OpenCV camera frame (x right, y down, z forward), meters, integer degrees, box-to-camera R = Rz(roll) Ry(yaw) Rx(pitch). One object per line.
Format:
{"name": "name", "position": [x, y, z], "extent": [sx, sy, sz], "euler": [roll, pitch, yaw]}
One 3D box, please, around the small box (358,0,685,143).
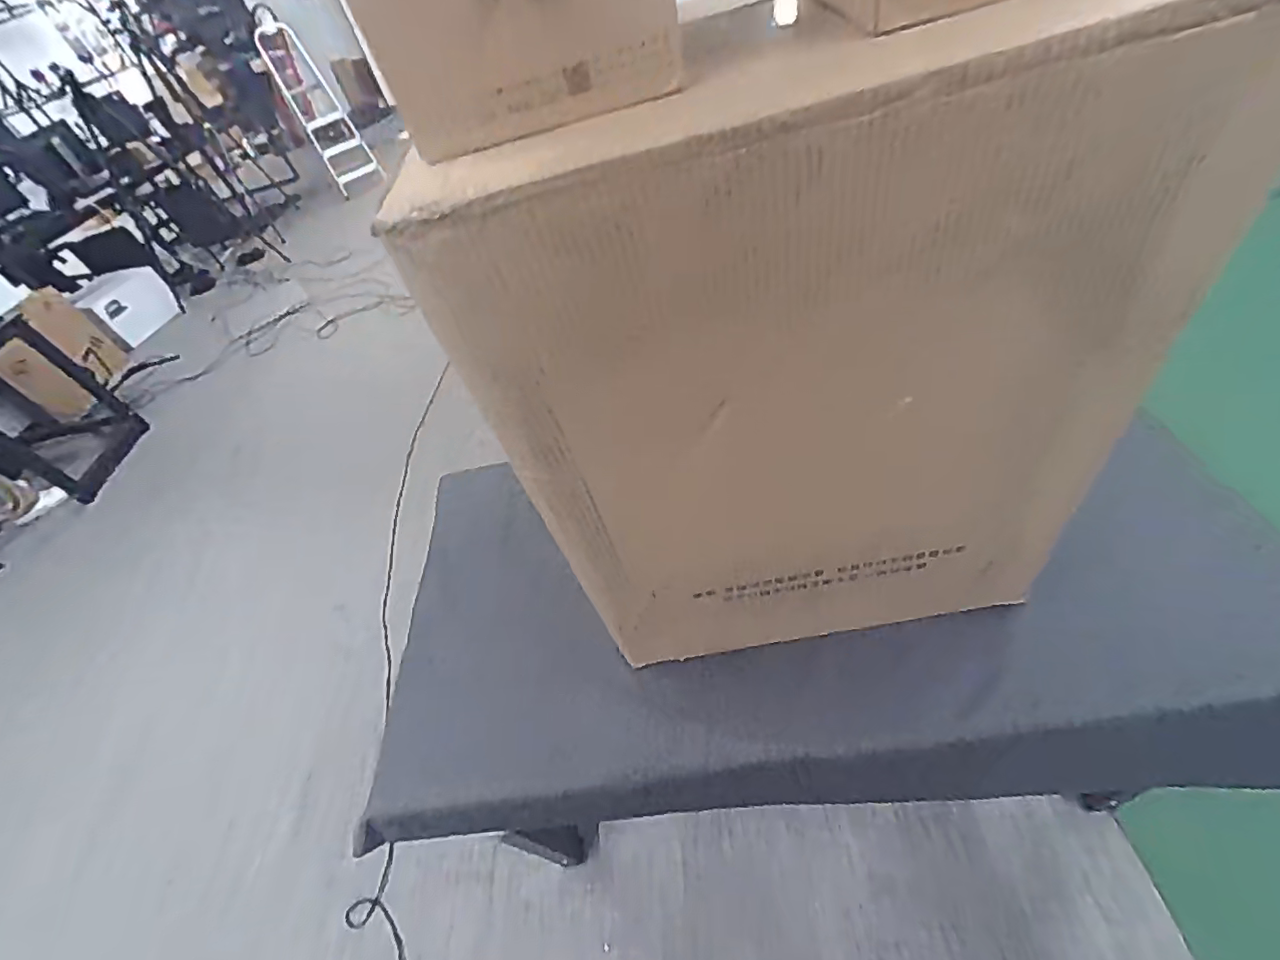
{"name": "small box", "position": [-0.073, -0.324, 0.314], "extent": [0.168, 0.176, 0.179], "euler": [-11, 50, 6]}
